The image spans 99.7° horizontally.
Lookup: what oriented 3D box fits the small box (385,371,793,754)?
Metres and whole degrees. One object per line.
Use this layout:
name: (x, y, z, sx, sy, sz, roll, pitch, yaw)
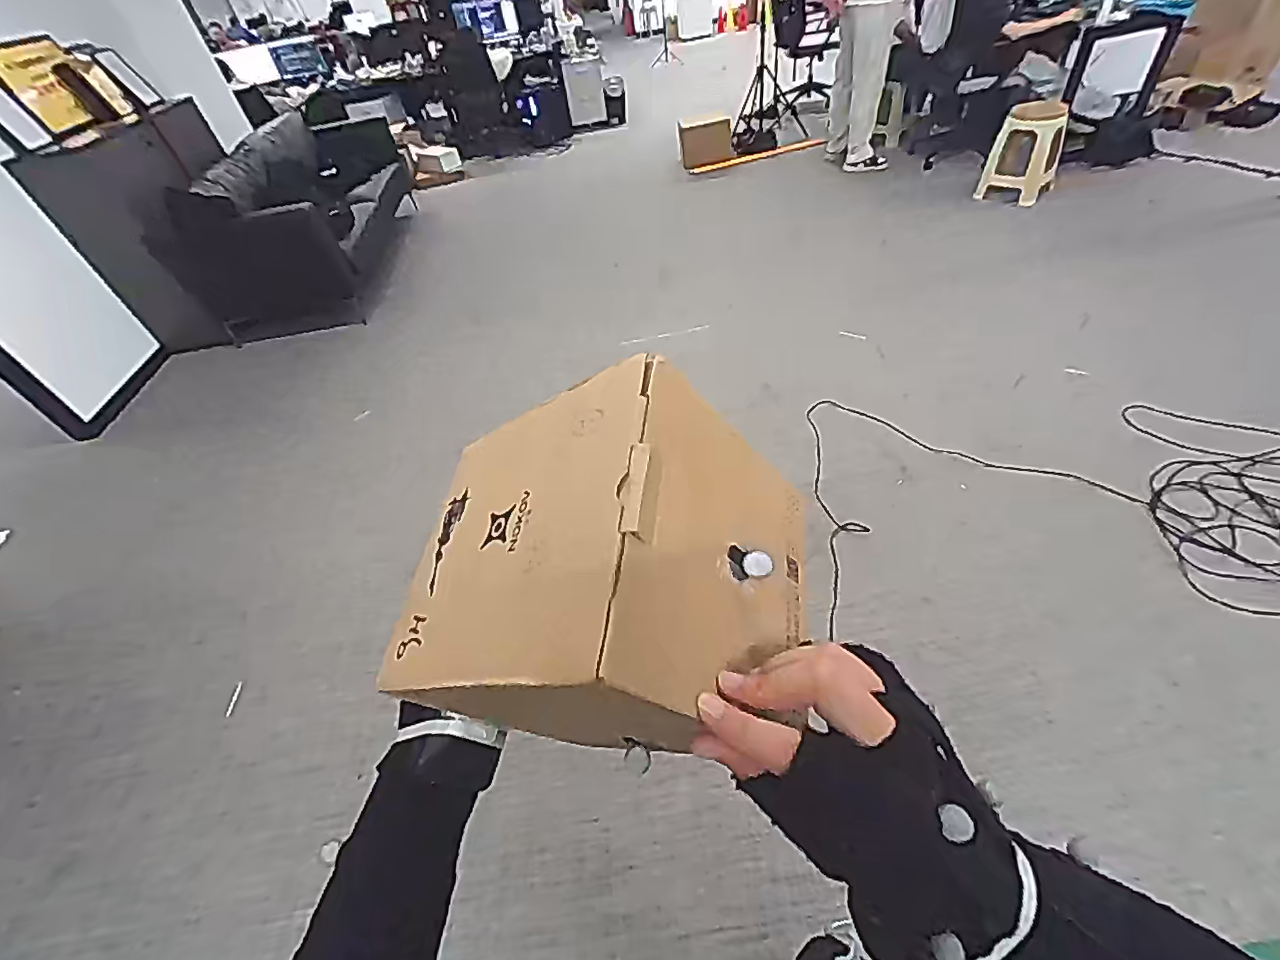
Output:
small box: (-0.016, 0.068, 0.343, 0.179, 0.176, 0.168, -18, 49, 37)
